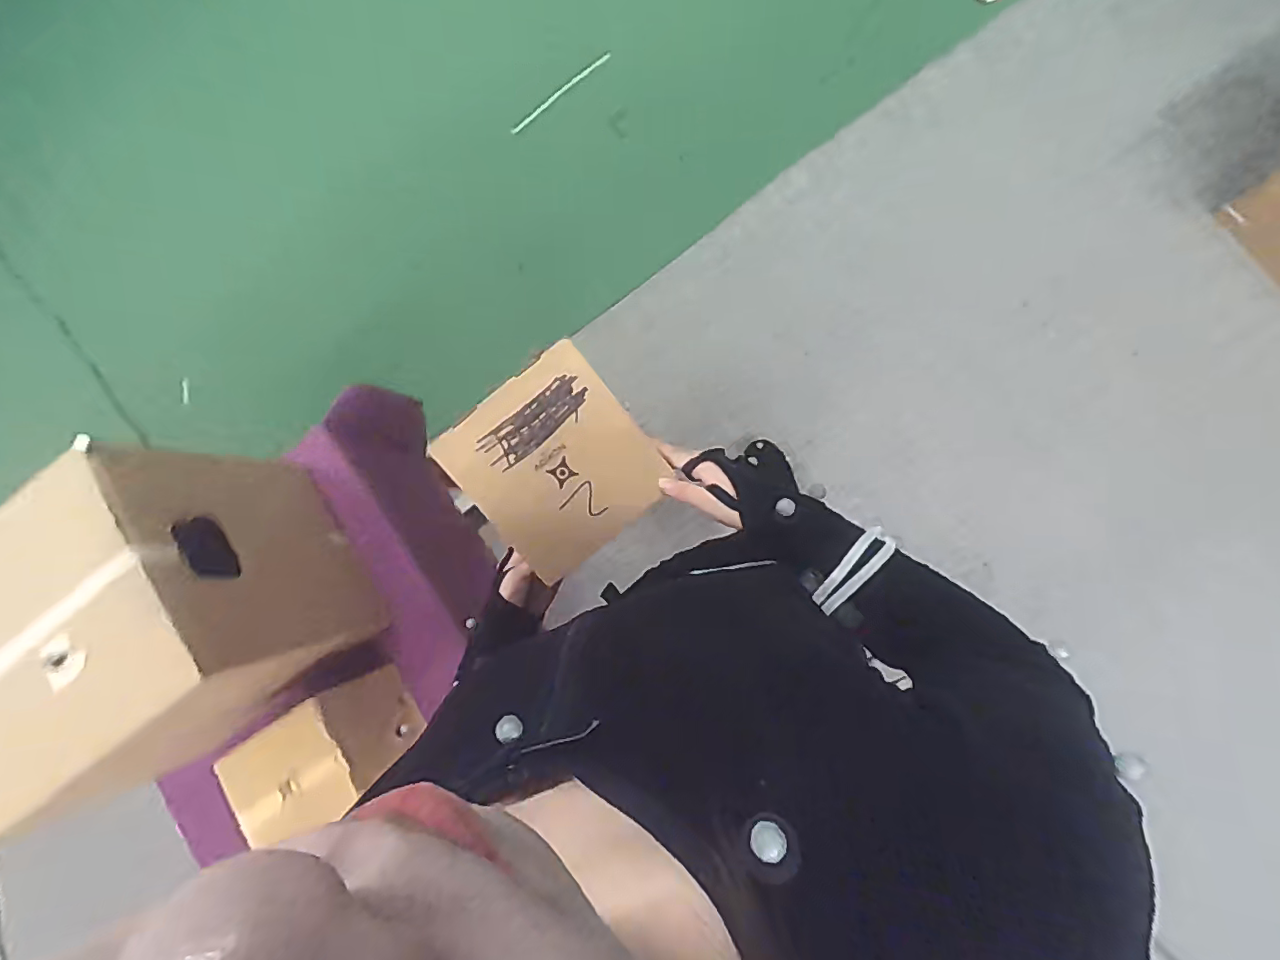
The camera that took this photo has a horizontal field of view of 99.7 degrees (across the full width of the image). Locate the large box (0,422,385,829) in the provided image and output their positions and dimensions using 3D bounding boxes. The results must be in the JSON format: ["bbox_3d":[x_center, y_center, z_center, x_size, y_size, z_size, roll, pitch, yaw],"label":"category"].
[{"bbox_3d":[-0.664,0.183,0.749,0.408,0.320,0.320,-35,82,5],"label":"large box"}]
